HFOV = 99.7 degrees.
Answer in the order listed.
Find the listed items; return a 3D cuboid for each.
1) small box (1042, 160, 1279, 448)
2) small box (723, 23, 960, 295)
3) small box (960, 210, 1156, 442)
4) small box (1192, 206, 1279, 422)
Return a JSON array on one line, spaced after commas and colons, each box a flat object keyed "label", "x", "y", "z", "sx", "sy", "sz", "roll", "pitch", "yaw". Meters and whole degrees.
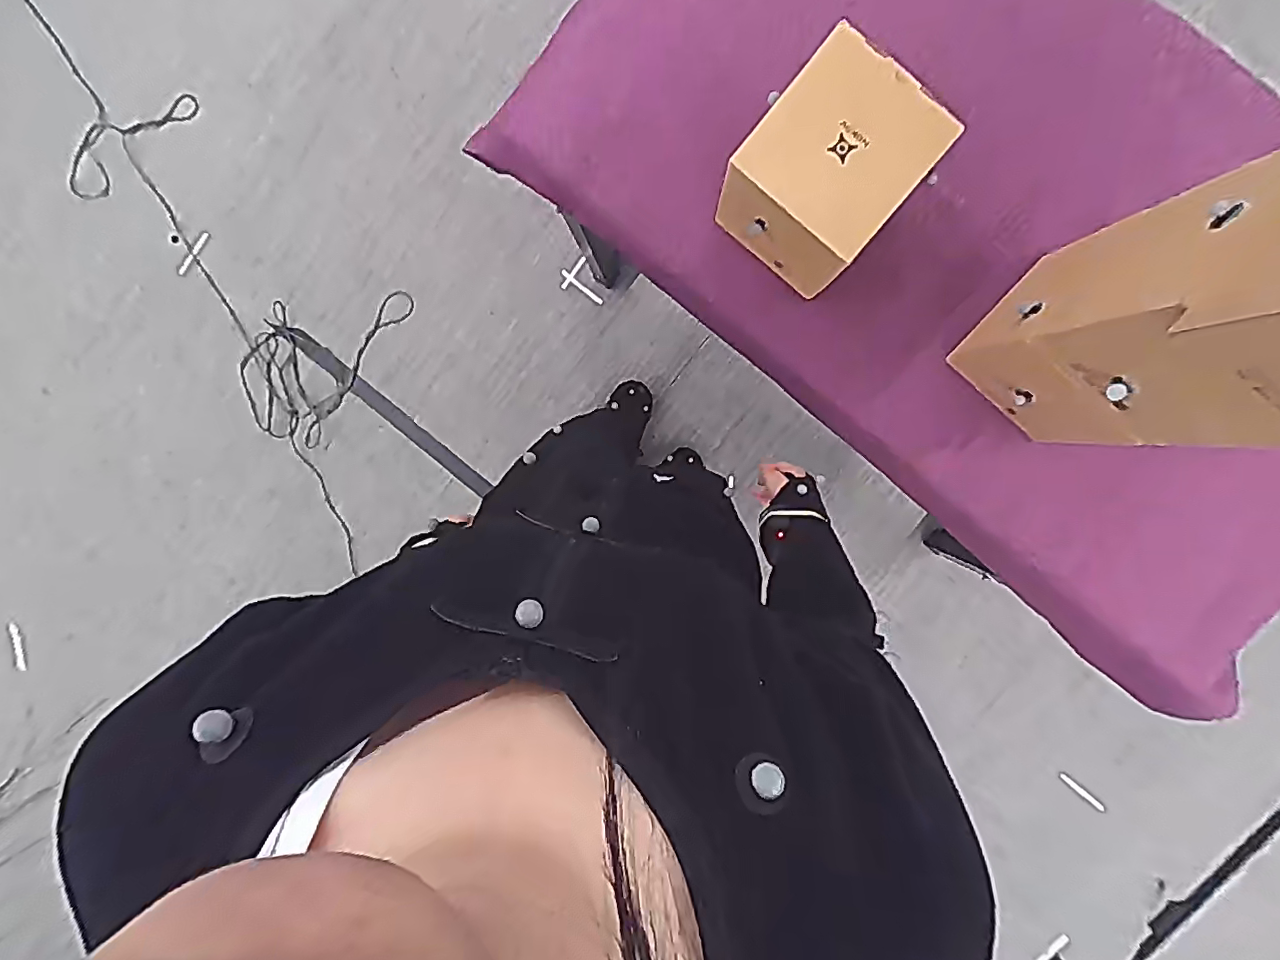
[{"label": "small box", "x": 0.511, "y": -0.147, "z": 0.465, "sx": 0.168, "sy": 0.176, "sz": 0.179, "roll": 42, "pitch": 97, "yaw": -1}, {"label": "small box", "x": 0.211, "y": -0.346, "z": 0.627, "sx": 0.168, "sy": 0.176, "sz": 0.179, "roll": 40, "pitch": 95, "yaw": -2}, {"label": "small box", "x": 0.515, "y": -0.162, "z": 0.629, "sx": 0.168, "sy": 0.176, "sz": 0.179, "roll": 42, "pitch": 96, "yaw": -2}, {"label": "small box", "x": 0.491, "y": -0.113, "z": 0.306, "sx": 0.168, "sy": 0.176, "sz": 0.179, "roll": 38, "pitch": 96, "yaw": -2}]
